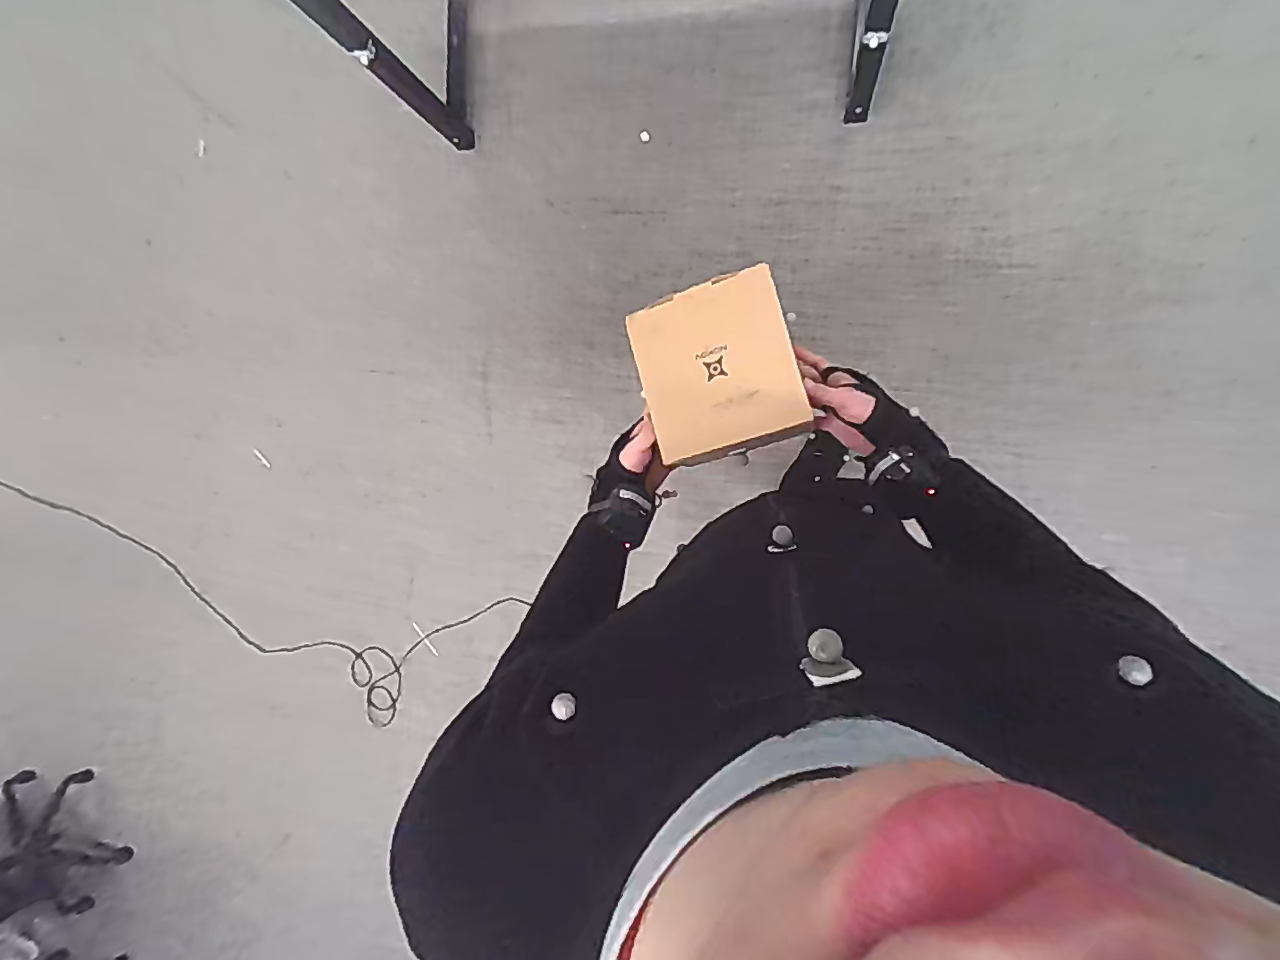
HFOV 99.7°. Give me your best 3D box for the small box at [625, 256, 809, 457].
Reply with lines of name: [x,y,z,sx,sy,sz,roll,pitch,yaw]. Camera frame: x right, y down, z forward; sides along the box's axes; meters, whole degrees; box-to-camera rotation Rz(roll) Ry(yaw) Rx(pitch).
small box: [0.099,-0.132,0.654,0.168,0.176,0.179,-15,87,16]
